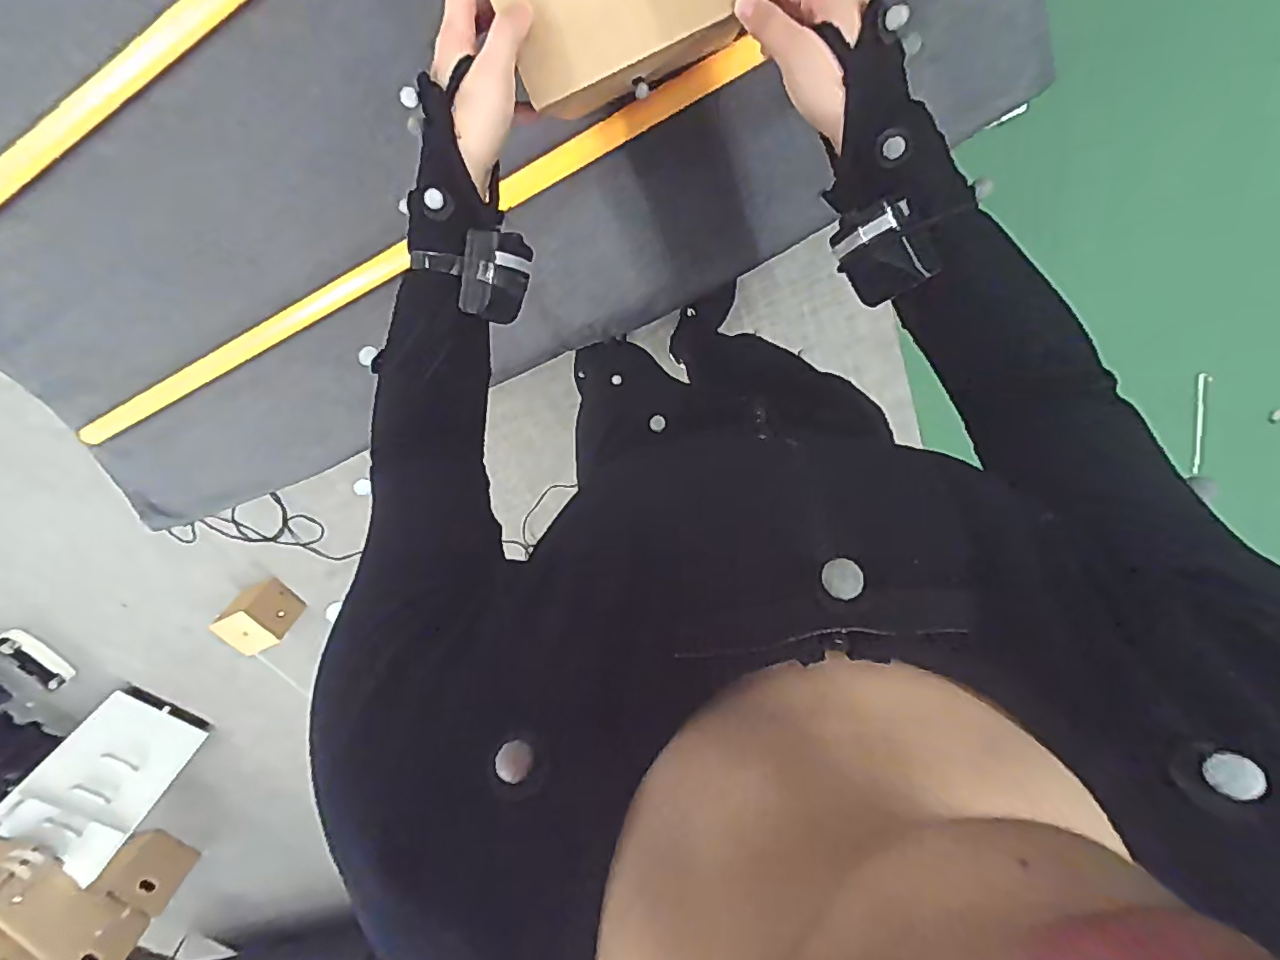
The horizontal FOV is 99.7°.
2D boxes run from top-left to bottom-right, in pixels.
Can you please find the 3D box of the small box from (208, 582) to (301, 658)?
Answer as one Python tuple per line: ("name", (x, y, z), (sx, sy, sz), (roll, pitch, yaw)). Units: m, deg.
("small box", (-1.330, 0.483, 1.885), (0.179, 0.176, 0.168), (-24, 118, 17))
